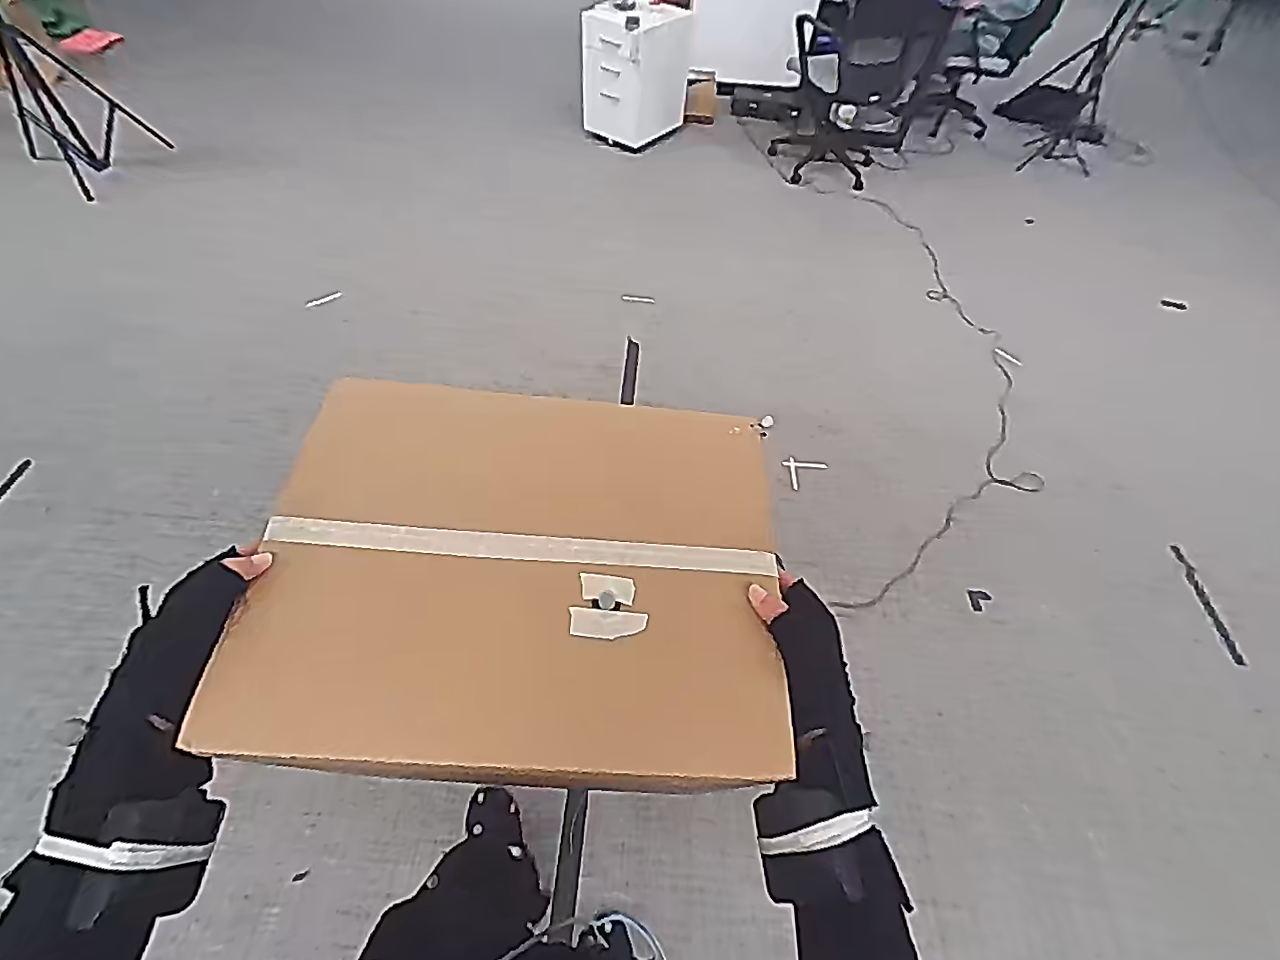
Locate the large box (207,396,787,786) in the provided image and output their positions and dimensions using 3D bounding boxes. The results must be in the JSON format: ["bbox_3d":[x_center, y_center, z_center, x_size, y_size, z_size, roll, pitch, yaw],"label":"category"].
[{"bbox_3d":[-0.104,0.140,0.573,0.408,0.320,0.320,5,60,-4],"label":"large box"}]
